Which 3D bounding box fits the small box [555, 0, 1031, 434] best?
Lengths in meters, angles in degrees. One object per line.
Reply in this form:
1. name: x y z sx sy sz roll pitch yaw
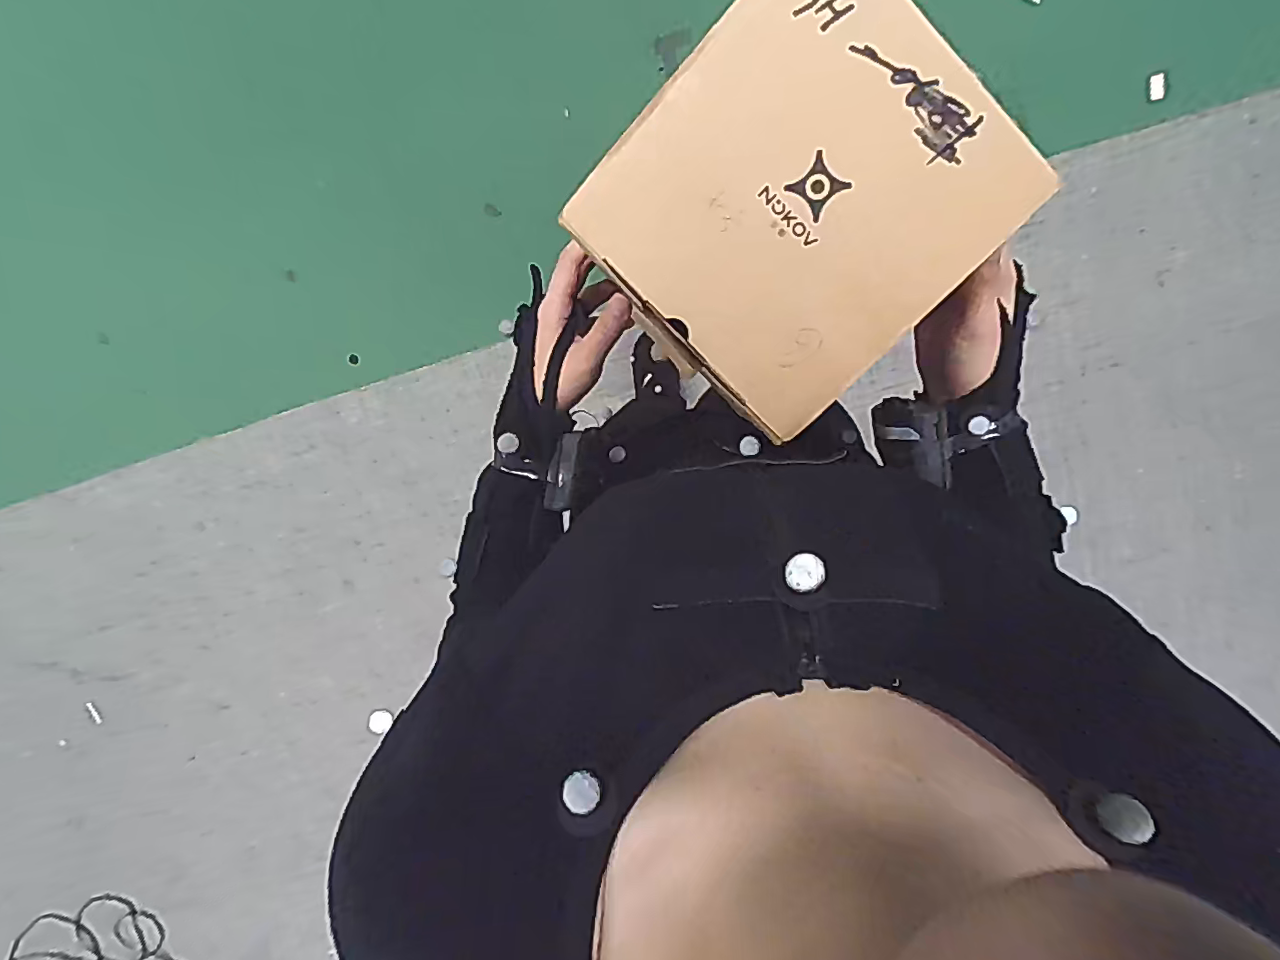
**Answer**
1. small box: 0.078 -0.155 0.345 0.168 0.176 0.179 44 103 -6
